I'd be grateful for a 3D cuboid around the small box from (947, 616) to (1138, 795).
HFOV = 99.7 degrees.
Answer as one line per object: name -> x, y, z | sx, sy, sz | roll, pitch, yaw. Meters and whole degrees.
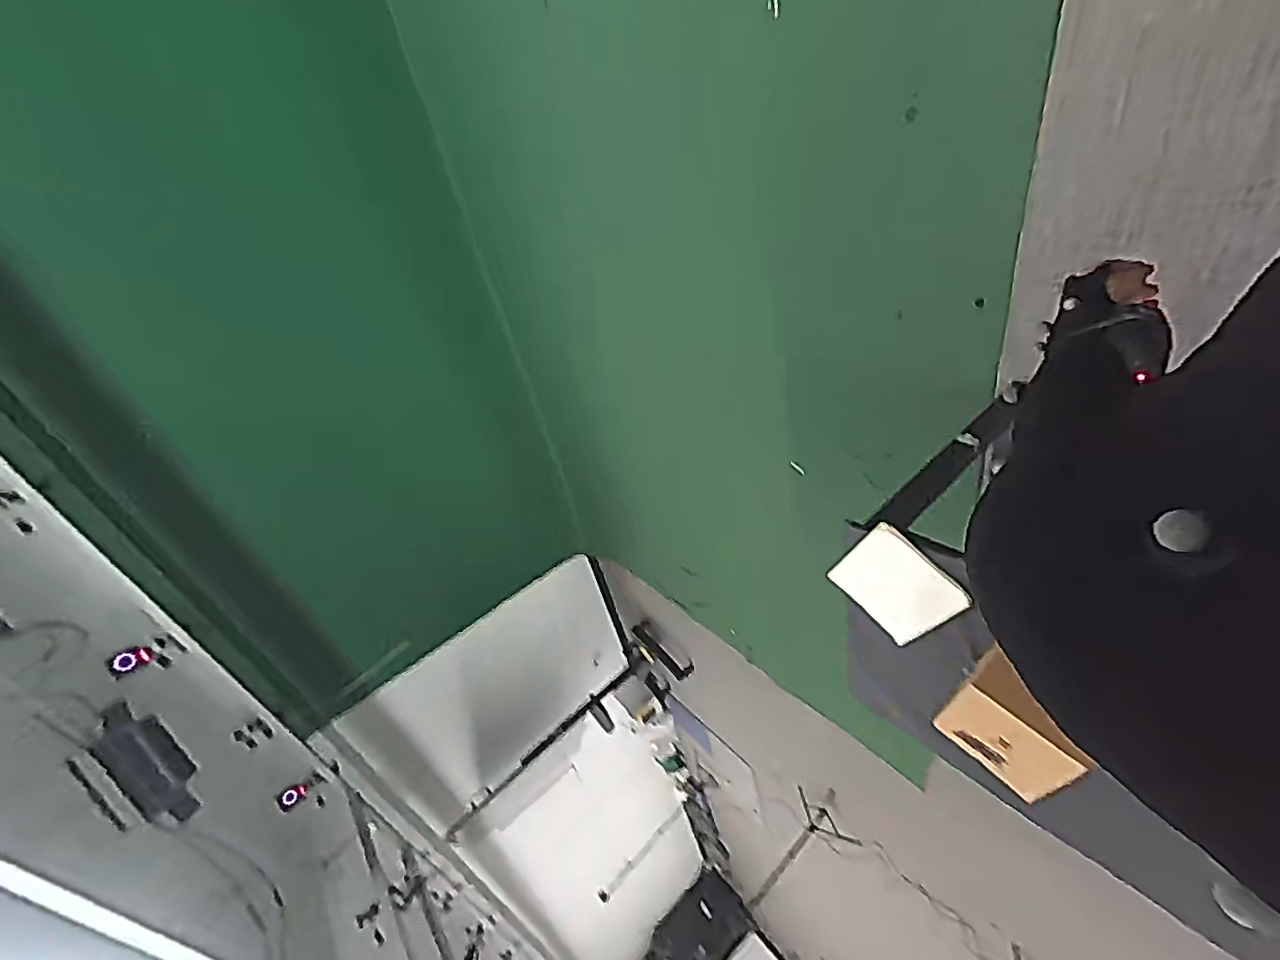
small box -> 0.643, 0.359, 0.872 | 0.168, 0.176, 0.179 | 37, 149, 33
